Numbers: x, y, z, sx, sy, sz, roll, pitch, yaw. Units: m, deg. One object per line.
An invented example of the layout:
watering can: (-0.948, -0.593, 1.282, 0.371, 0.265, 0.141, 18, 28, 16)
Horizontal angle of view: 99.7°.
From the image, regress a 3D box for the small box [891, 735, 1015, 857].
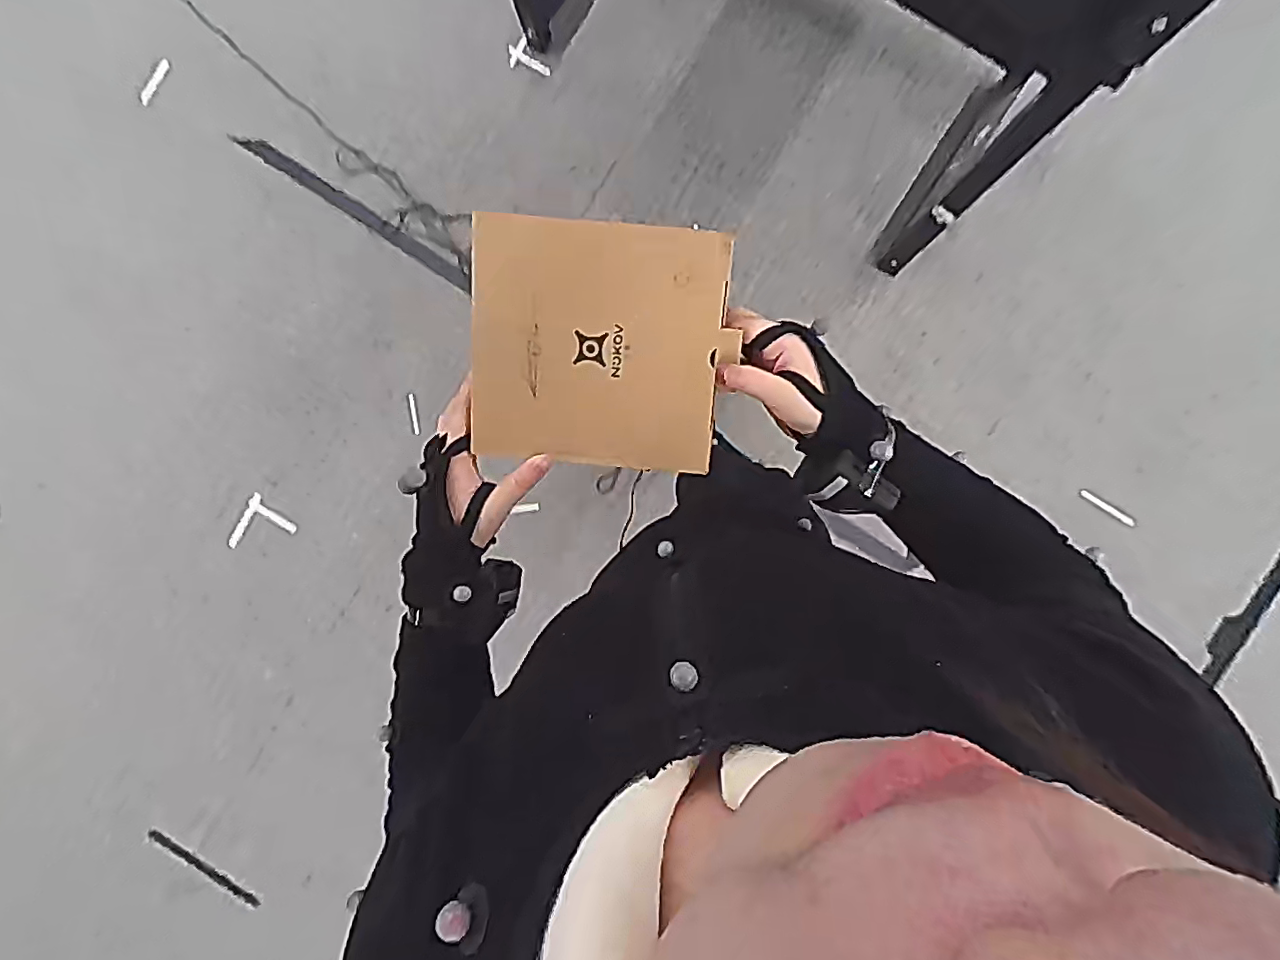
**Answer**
small box: (0.771, 0.776, 1.357, 0.179, 0.176, 0.168, 39, 93, 2)
